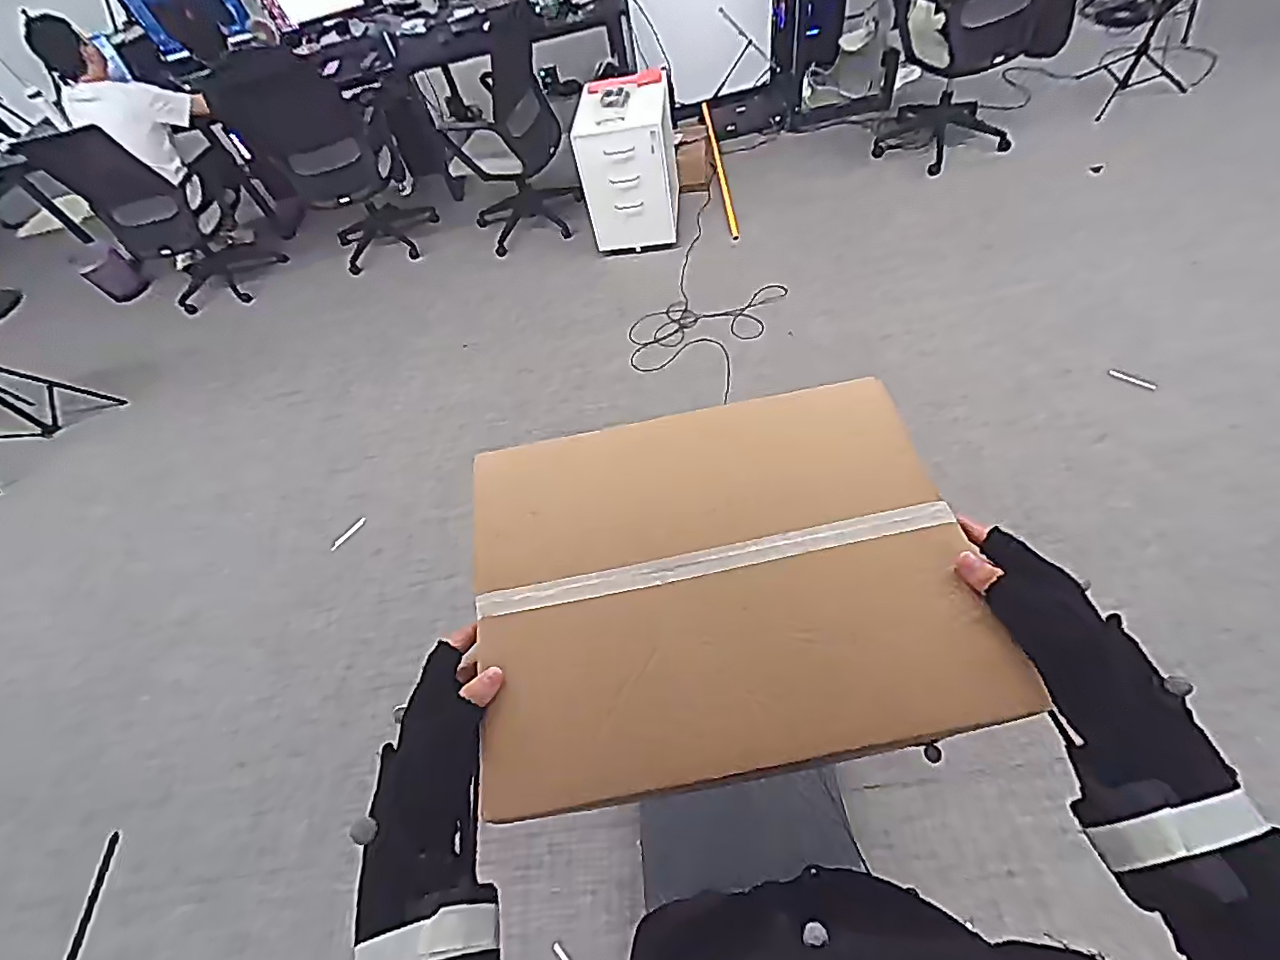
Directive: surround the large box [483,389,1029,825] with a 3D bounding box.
[{"bbox_3d":[0.079,0.149,0.591,0.408,0.320,0.320,-11,59,-1],"label":"large box"}]
